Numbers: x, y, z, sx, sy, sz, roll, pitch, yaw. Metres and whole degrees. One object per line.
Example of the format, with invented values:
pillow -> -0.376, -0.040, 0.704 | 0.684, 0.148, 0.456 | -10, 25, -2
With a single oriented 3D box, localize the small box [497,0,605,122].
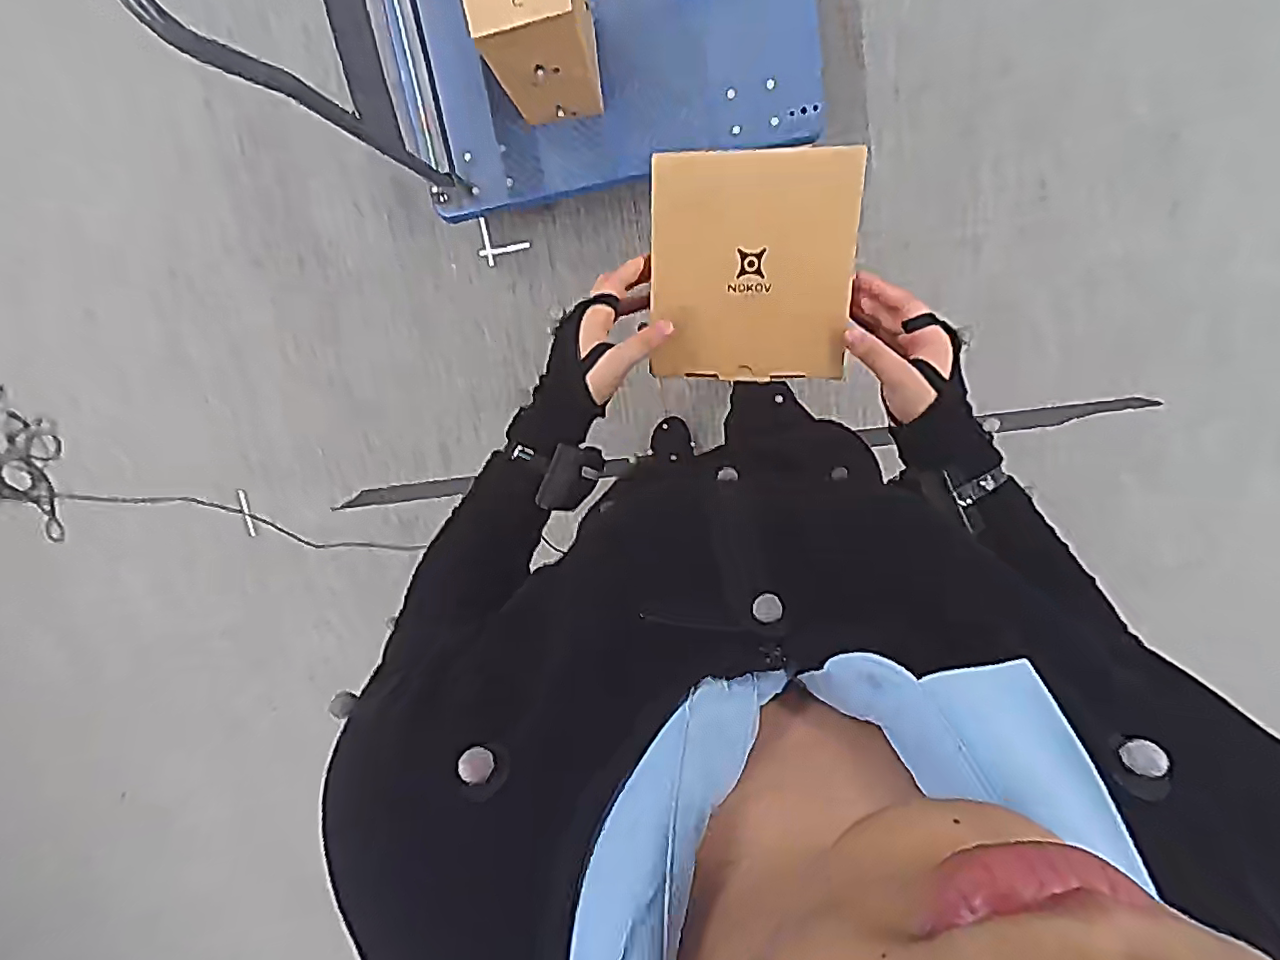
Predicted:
small box -> -0.166, -0.833, 1.046 | 0.168, 0.176, 0.179 | -5, 102, 6
